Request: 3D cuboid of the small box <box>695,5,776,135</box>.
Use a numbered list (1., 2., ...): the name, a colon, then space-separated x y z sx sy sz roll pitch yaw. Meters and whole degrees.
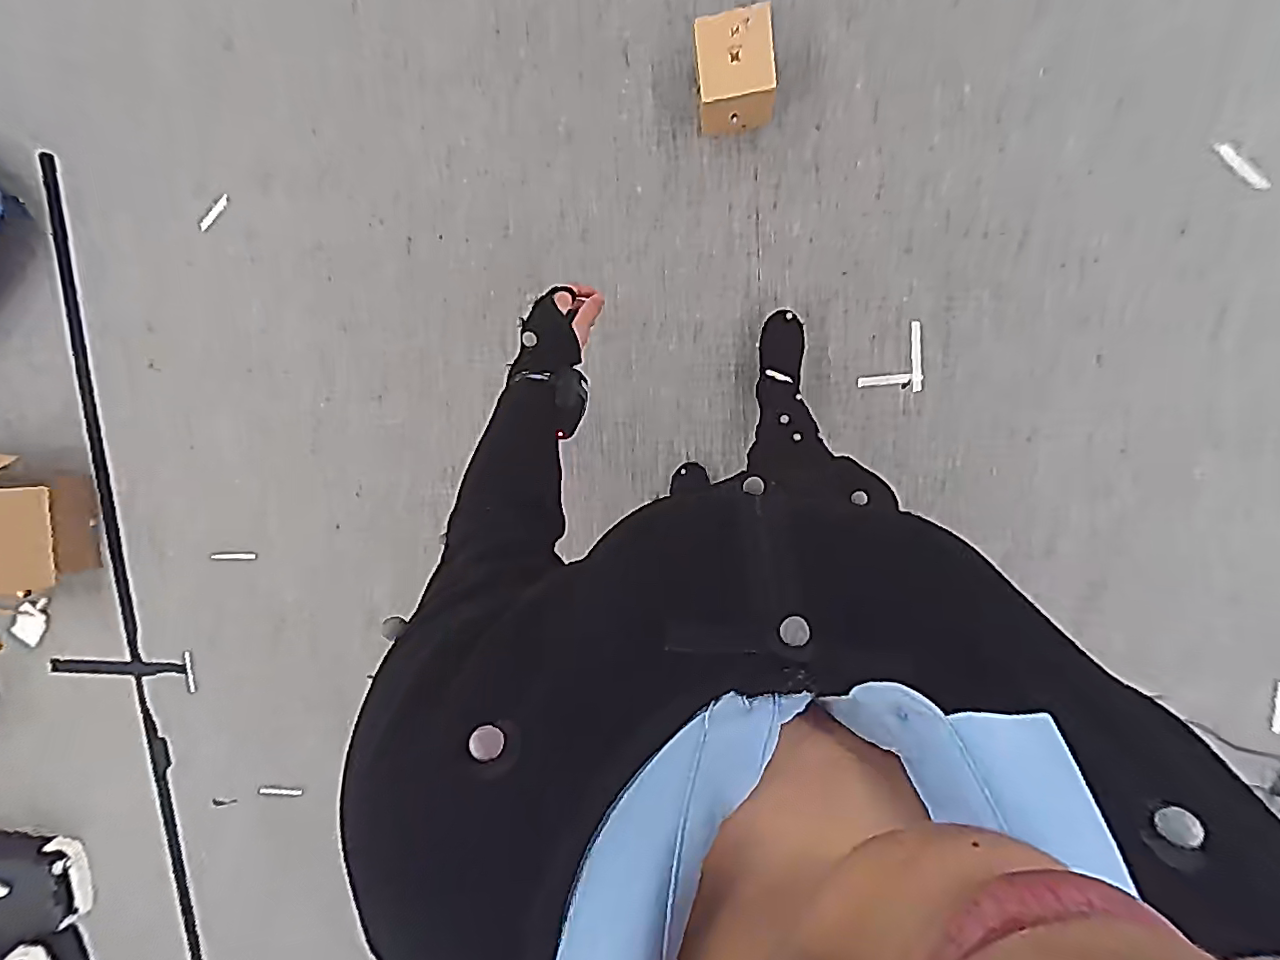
1. small box: 0.219 -0.934 1.254 0.168 0.176 0.179 -6 97 8
